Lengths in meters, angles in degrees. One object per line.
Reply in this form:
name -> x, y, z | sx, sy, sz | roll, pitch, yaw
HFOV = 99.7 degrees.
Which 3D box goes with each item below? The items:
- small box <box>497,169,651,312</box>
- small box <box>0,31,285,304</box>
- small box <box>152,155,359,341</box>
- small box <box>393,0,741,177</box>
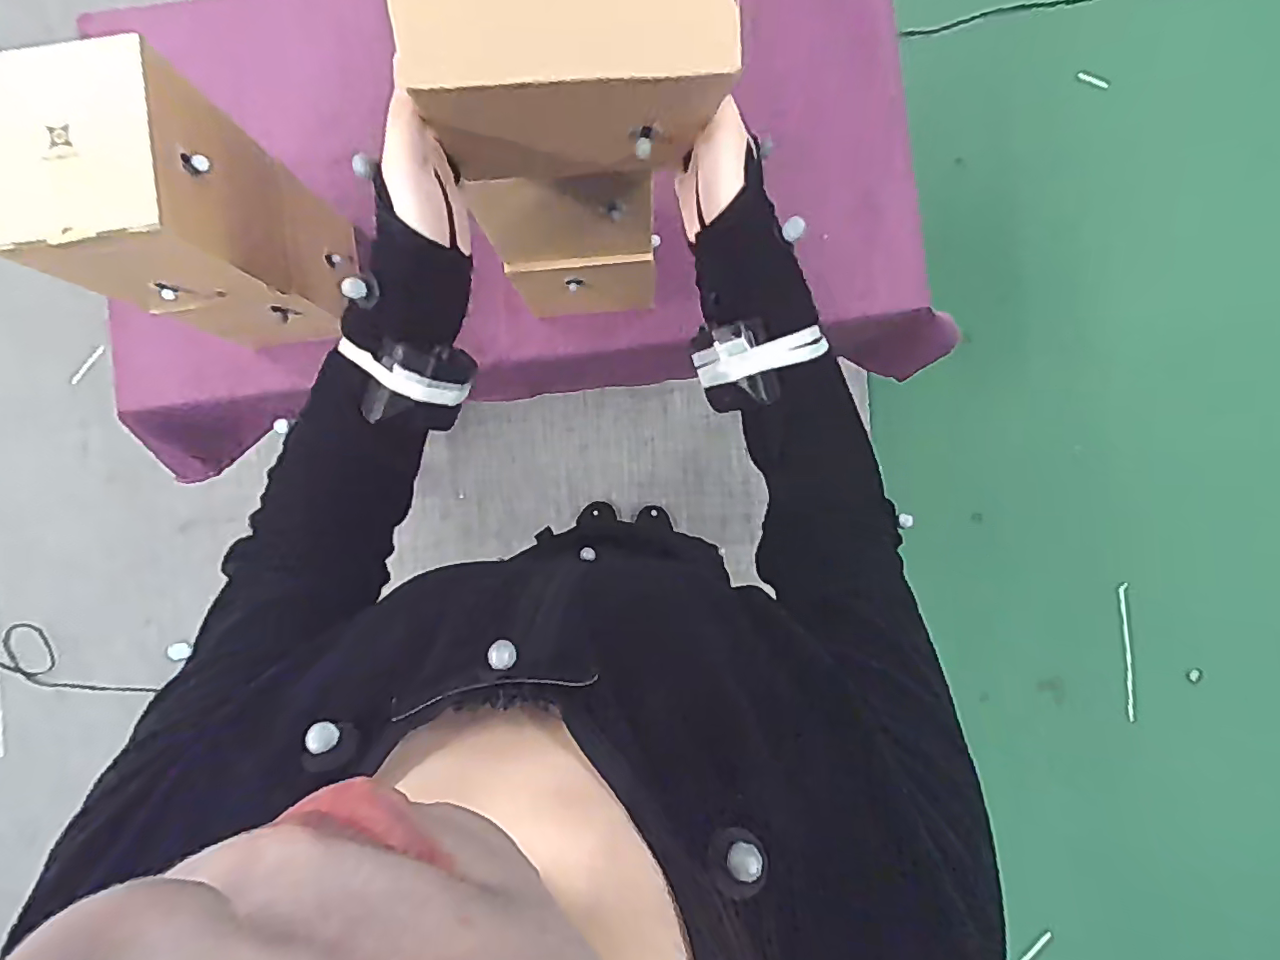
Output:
small box -> -0.077, -0.330, 0.713 | 0.179, 0.176, 0.168 | -5, 89, 1
small box -> -0.506, -0.303, 0.558 | 0.168, 0.176, 0.179 | -7, 90, 1
small box -> -0.500, -0.295, 0.721 | 0.179, 0.176, 0.168 | -7, 88, 1
small box -> -0.048, -0.300, 0.333 | 0.179, 0.176, 0.168 | -6, 106, -6
